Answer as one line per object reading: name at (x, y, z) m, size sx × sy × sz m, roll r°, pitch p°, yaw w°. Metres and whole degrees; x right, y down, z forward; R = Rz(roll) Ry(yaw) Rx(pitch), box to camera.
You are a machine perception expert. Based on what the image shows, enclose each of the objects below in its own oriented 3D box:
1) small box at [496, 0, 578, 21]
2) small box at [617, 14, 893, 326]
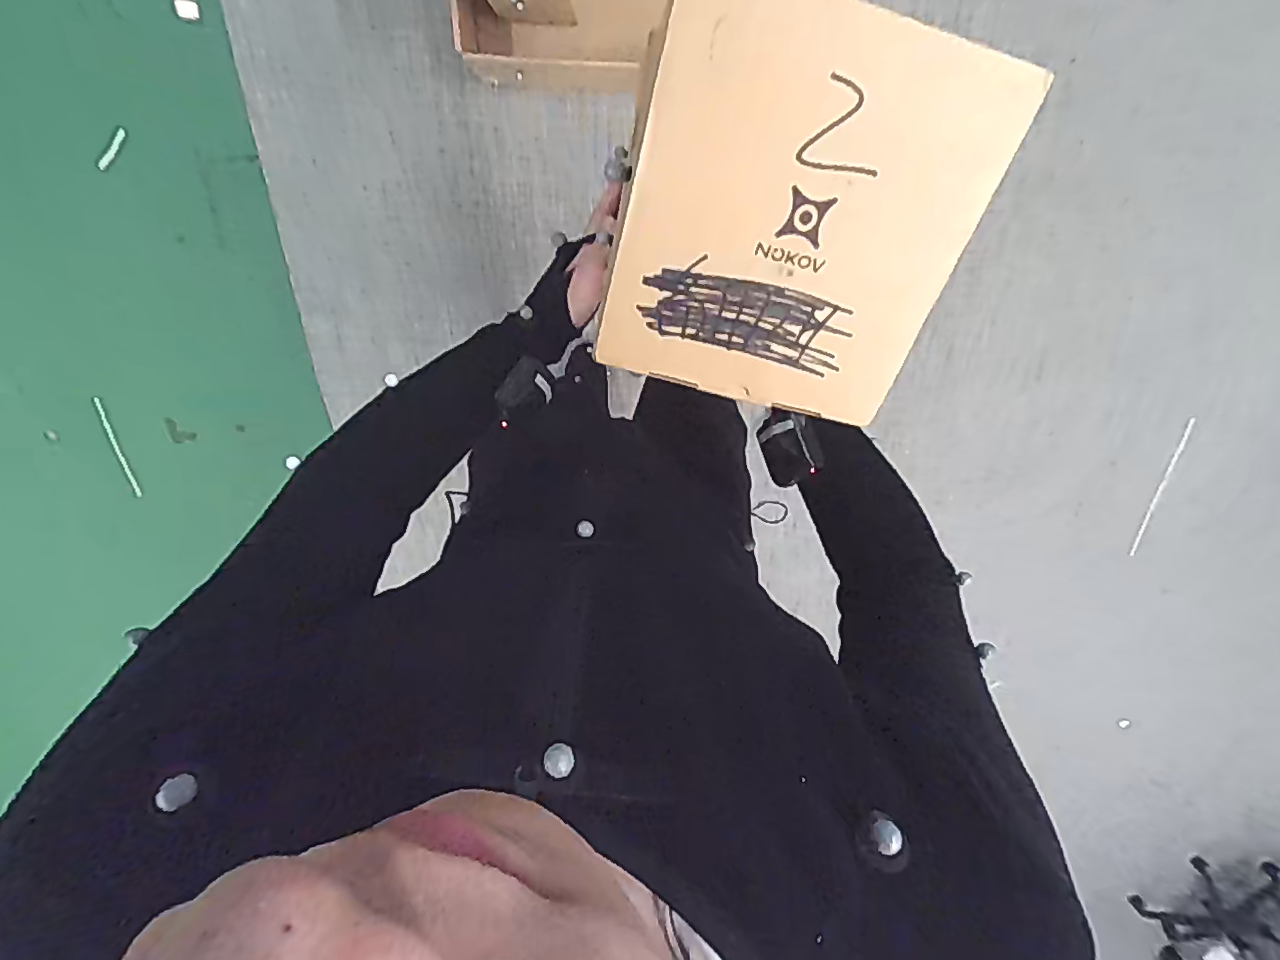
small box at (-0.202, -0.998, 1.004) m, size 0.168 × 0.176 × 0.179 m, roll 3°, pitch 116°, yaw -3°
small box at (0.073, -0.256, 0.465) m, size 0.168 × 0.176 × 0.179 m, roll 9°, pitch 123°, yaw -8°
